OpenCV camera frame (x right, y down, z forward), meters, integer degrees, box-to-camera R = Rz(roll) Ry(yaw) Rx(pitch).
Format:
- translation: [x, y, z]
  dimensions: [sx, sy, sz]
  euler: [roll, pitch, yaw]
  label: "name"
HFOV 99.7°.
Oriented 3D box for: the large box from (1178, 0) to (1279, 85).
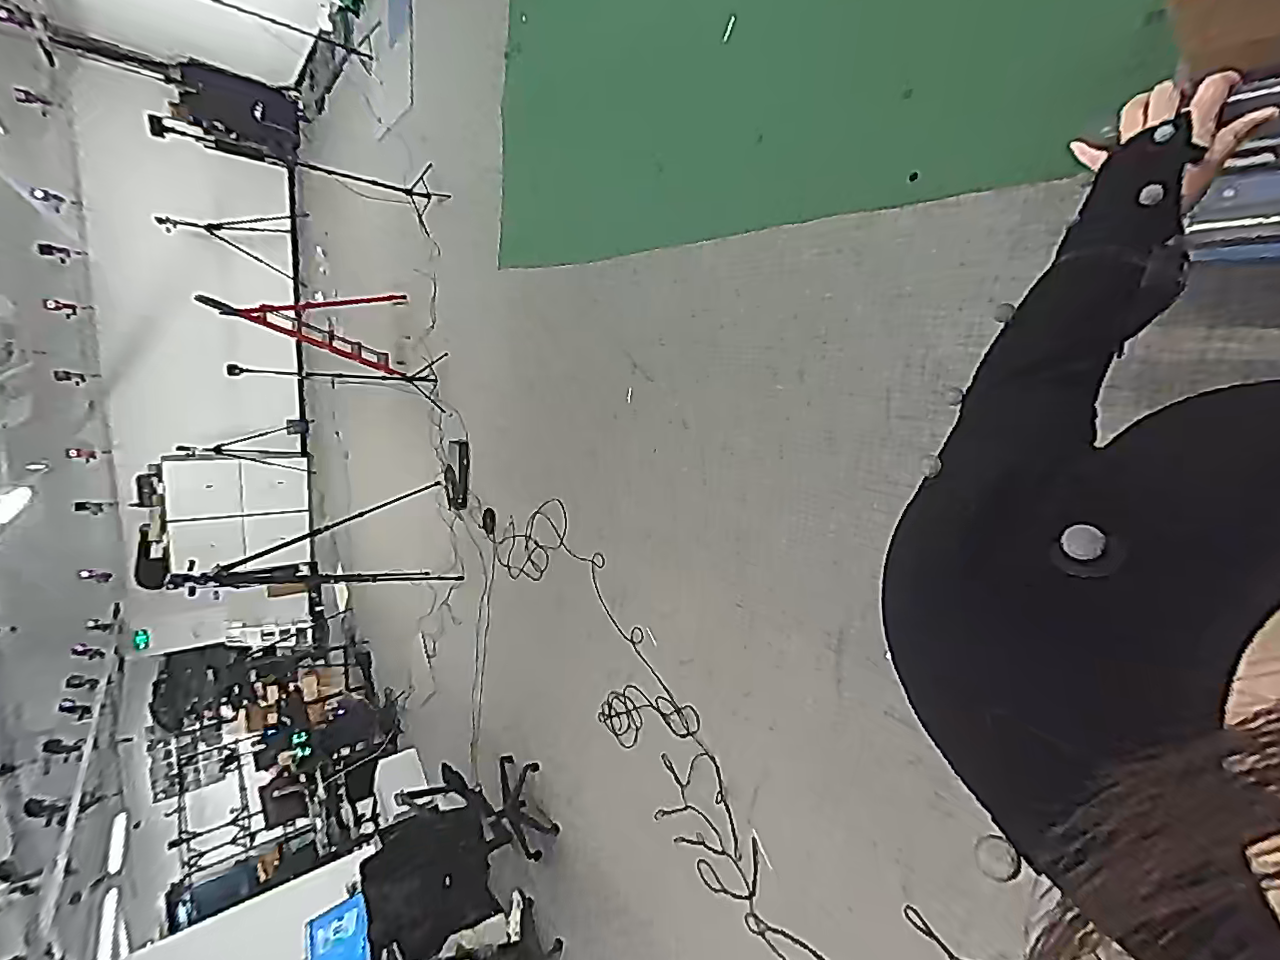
- translation: [0.994, -0.779, 0.672]
  dimensions: [0.408, 0.320, 0.320]
  euler: [21, 109, 46]
  label: "large box"
